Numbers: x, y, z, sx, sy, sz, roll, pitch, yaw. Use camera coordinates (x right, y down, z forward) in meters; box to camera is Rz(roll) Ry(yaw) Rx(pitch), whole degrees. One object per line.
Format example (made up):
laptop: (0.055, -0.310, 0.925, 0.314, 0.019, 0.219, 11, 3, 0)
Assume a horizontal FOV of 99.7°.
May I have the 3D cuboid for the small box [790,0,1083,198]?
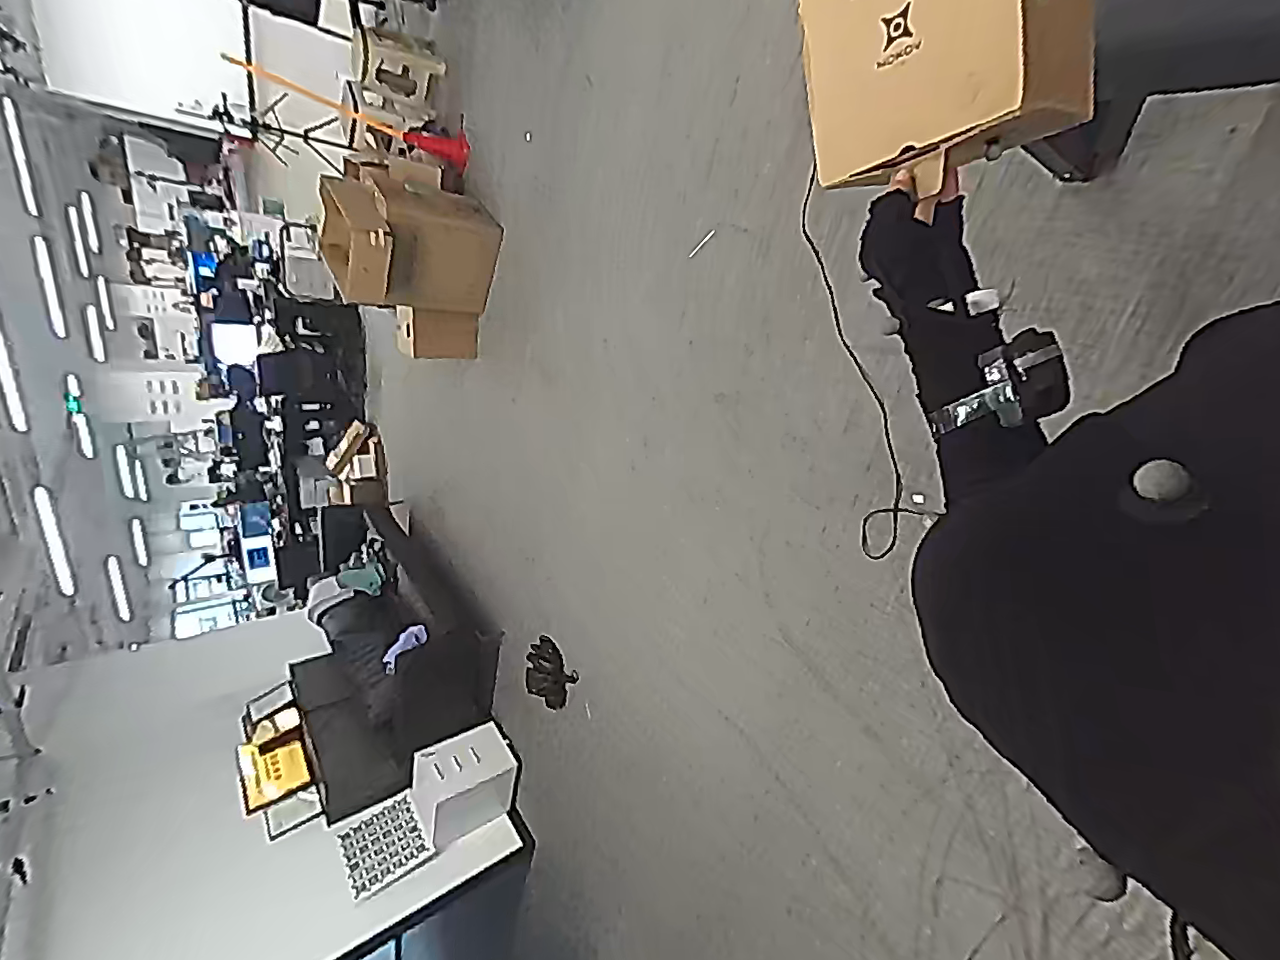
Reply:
small box: (0.257, -0.365, 0.465, 0.168, 0.176, 0.179, 6, 113, 51)
